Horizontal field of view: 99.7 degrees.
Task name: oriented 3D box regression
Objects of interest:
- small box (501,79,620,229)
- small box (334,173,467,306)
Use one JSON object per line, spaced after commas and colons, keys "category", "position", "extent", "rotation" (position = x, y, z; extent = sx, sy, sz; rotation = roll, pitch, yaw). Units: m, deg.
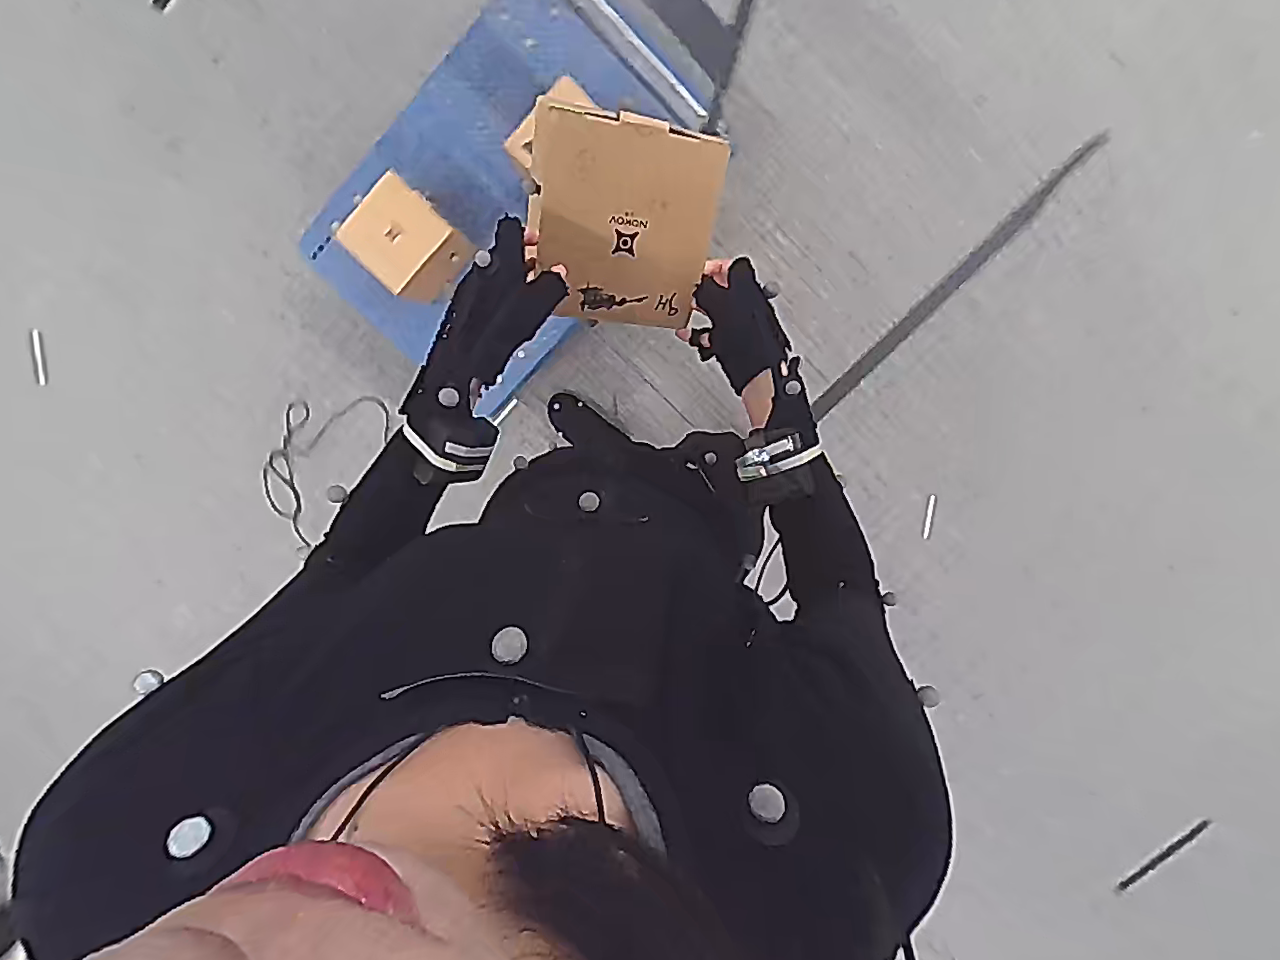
{"category": "small box", "position": [-0.153, -0.658, 1.122], "extent": [0.179, 0.176, 0.168], "rotation": [-44, 97, 7]}
{"category": "small box", "position": [-0.494, -0.499, 1.152], "extent": [0.168, 0.176, 0.179], "rotation": [44, 98, -6]}
